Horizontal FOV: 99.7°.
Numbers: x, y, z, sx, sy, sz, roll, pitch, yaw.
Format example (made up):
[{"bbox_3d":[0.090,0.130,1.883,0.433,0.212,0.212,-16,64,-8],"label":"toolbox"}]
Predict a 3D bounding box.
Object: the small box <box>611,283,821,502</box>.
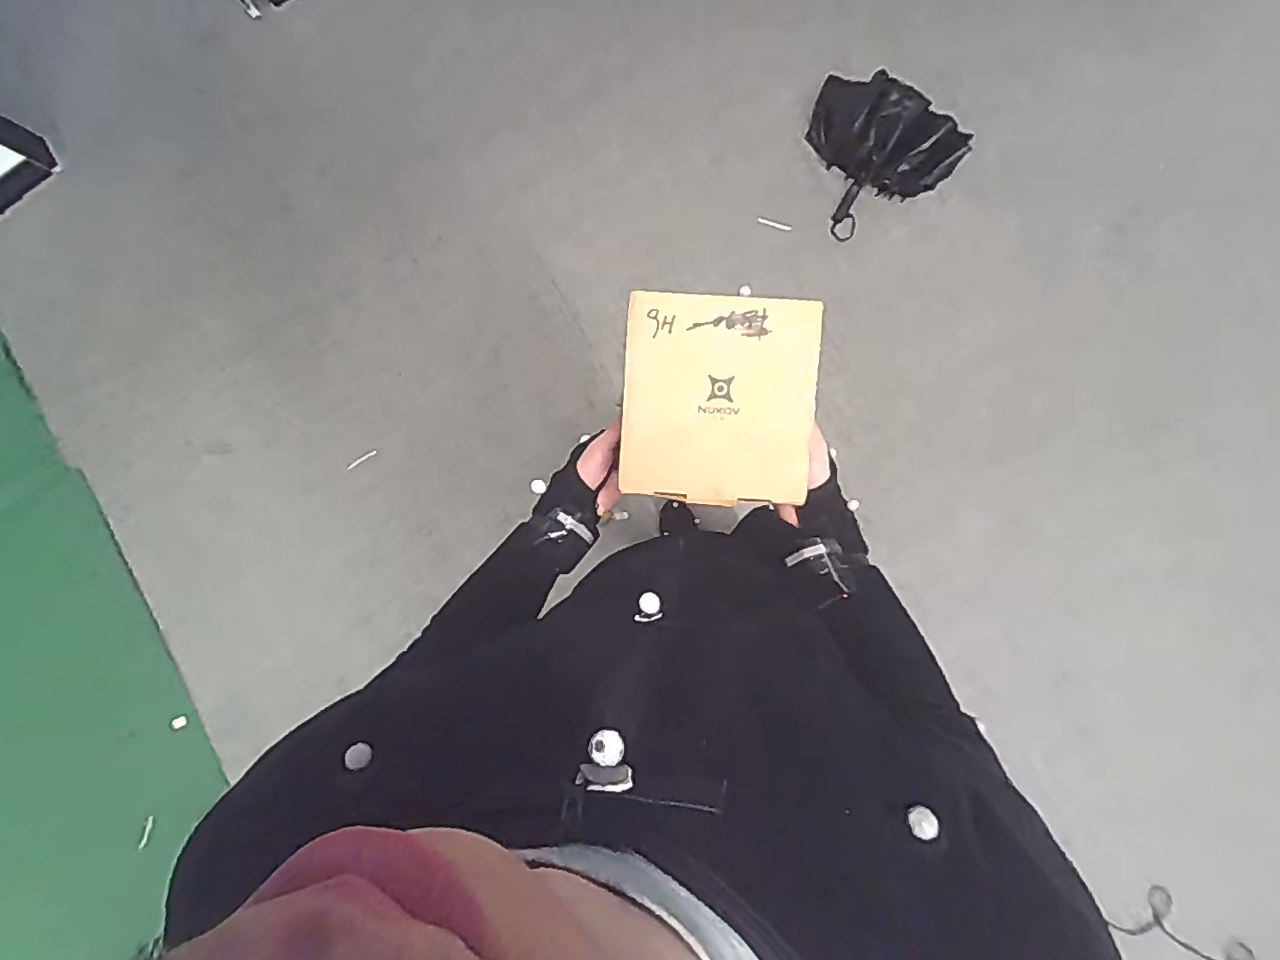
[{"bbox_3d":[0.065,-0.081,0.534,0.168,0.176,0.179,4,96,1],"label":"small box"}]
